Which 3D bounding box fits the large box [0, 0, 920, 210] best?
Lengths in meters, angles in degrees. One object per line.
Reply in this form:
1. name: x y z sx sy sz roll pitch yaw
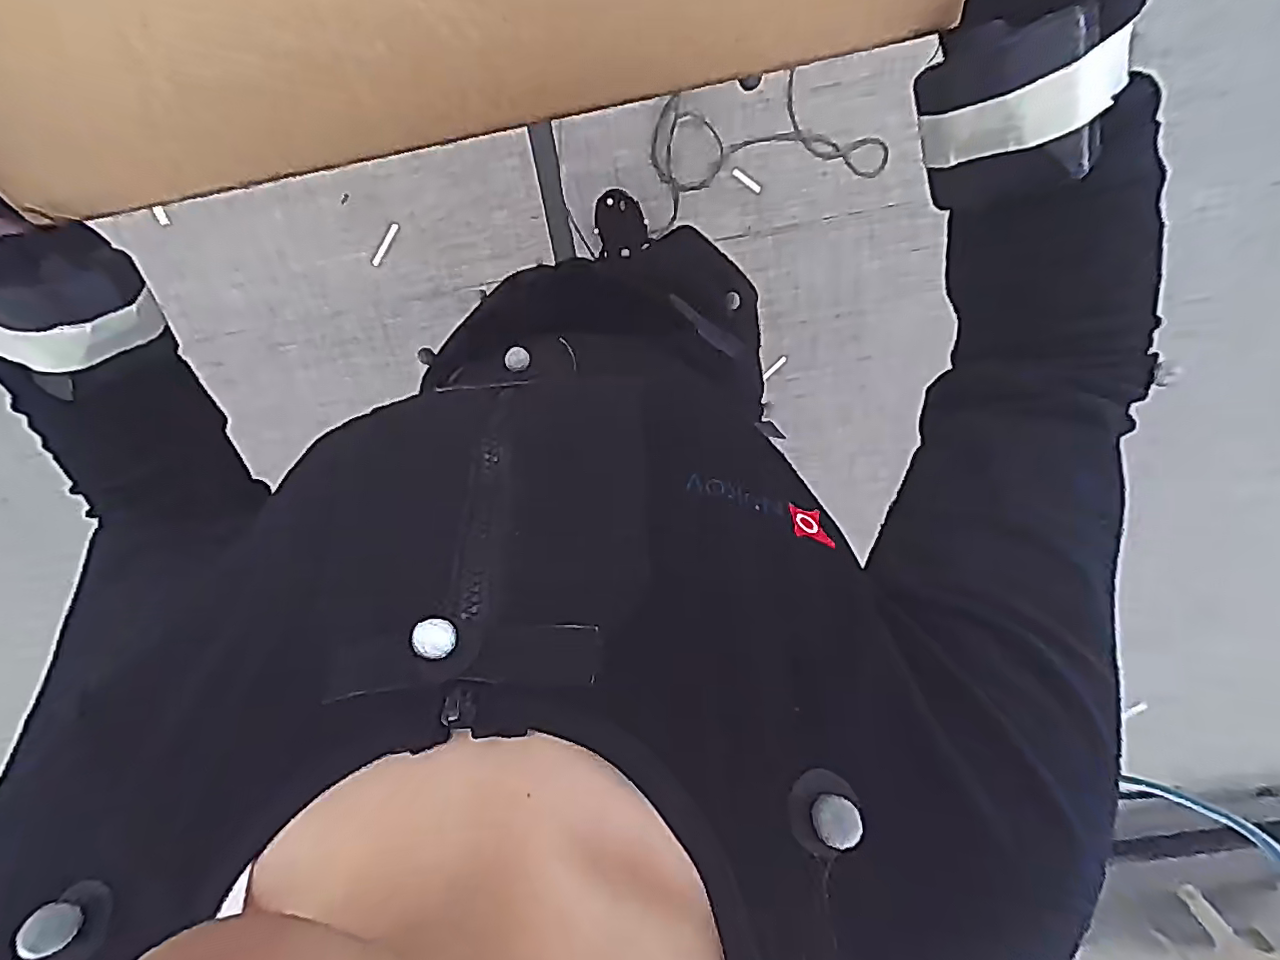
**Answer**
1. large box: -0.110 -0.368 0.227 0.408 0.320 0.320 -9 136 4
